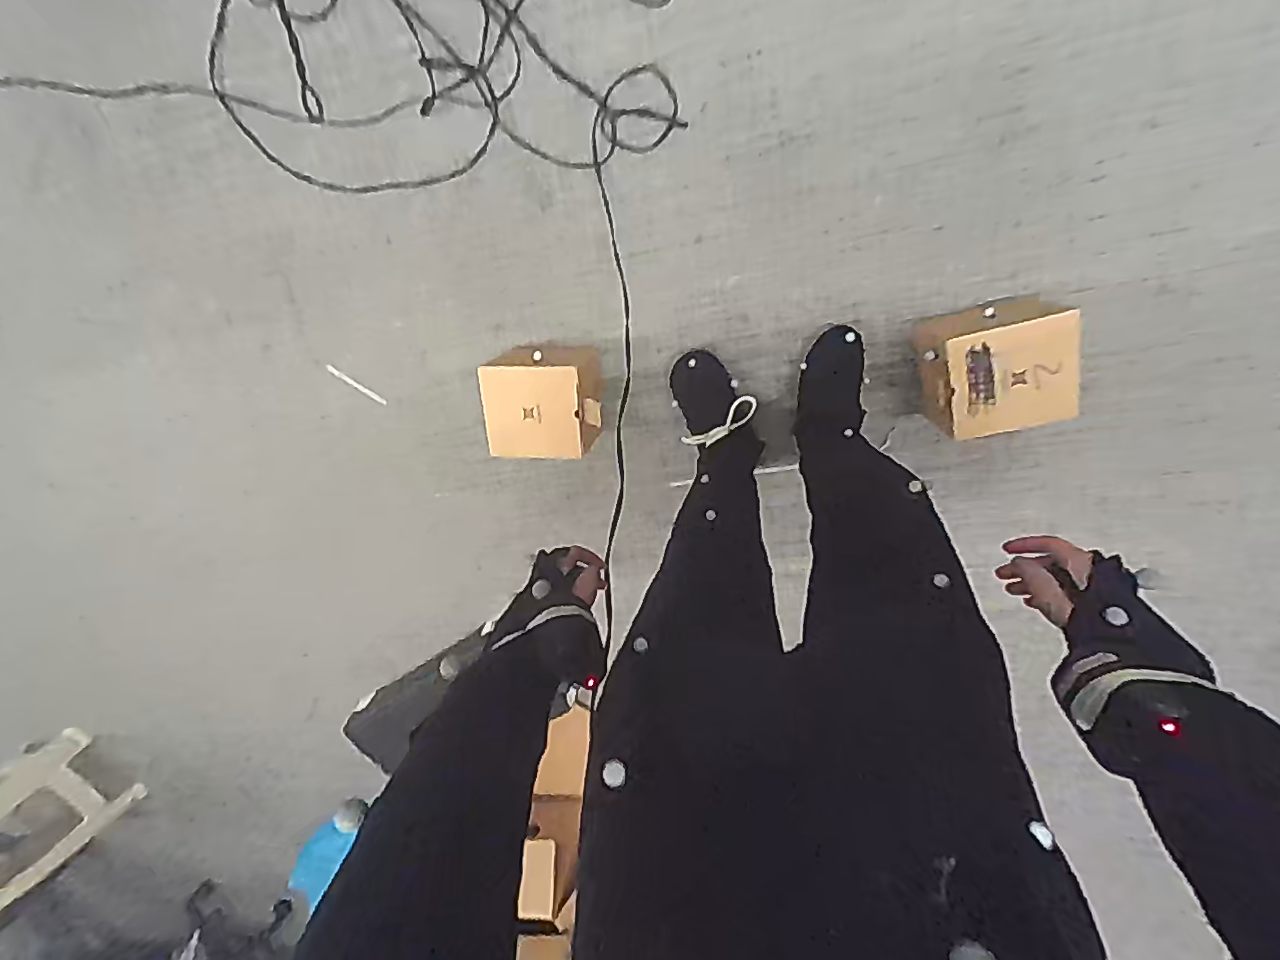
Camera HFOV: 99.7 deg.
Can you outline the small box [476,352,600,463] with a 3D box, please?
[{"bbox_3d":[-0.179,-0.139,1.000,0.179,0.176,0.168,2,114,8],"label":"small box"}]
